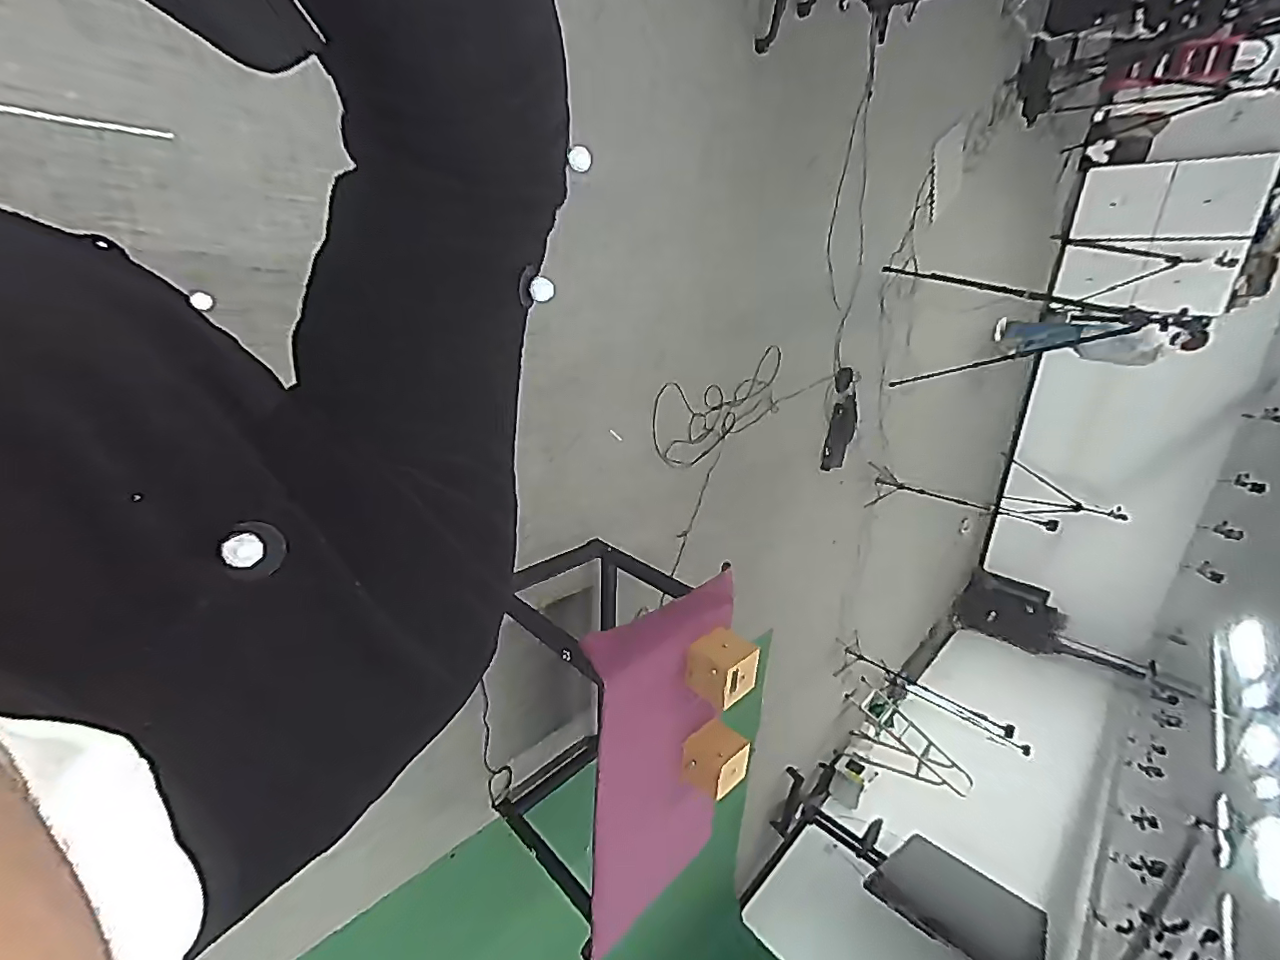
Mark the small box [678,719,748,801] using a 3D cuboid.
[{"bbox_3d":[0.266,1.016,1.983,0.179,0.176,0.168,-12,115,-41],"label":"small box"}]
